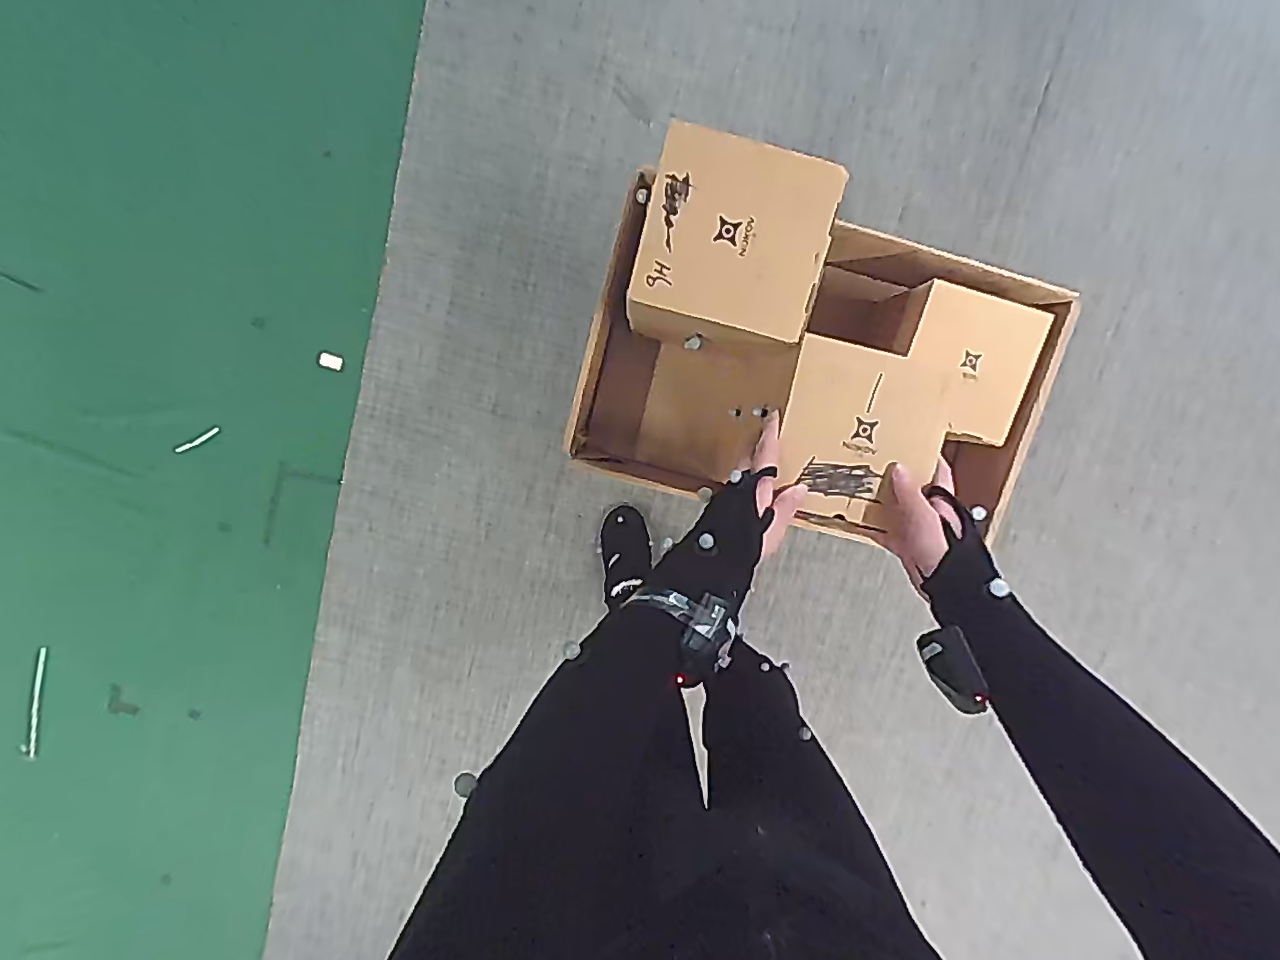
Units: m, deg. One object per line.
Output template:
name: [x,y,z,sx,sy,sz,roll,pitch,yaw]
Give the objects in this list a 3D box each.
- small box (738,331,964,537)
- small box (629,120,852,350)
small box: [0.218,-0.051,0.614,0.168,0.176,0.179,13,95,-3]
small box: [0.092,-0.243,0.588,0.179,0.176,0.168,15,99,-4]
